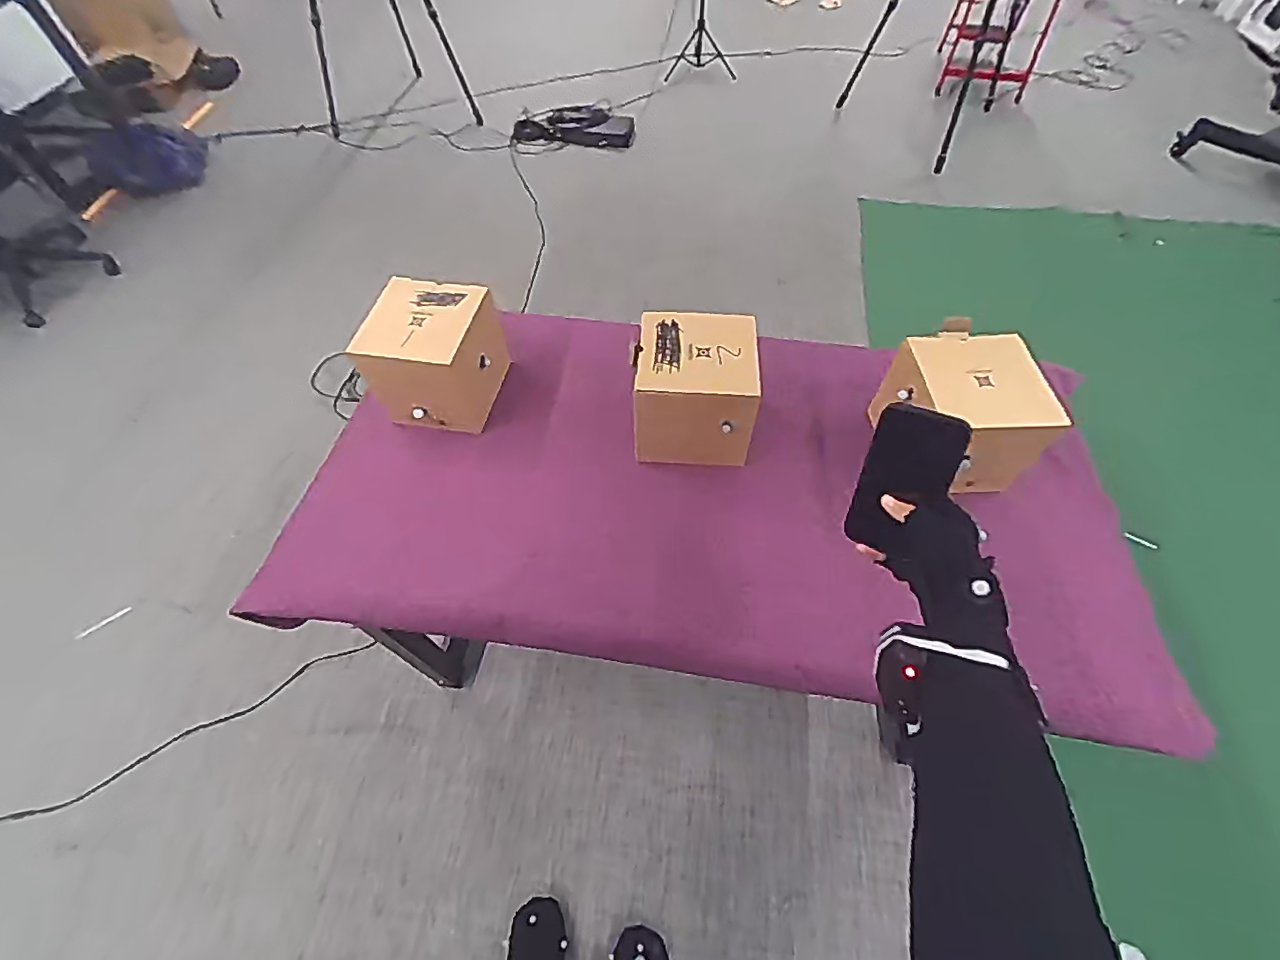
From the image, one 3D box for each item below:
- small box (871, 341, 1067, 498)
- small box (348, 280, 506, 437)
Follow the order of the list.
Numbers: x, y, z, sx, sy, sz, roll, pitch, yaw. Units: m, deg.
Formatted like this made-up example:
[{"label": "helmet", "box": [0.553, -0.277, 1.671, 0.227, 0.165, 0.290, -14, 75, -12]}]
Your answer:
[{"label": "small box", "box": [0.470, -0.084, 0.808, 0.168, 0.176, 0.179, -1, 55, 0]}, {"label": "small box", "box": [-0.332, -0.197, 0.890, 0.168, 0.176, 0.179, 8, 58, 6]}]
